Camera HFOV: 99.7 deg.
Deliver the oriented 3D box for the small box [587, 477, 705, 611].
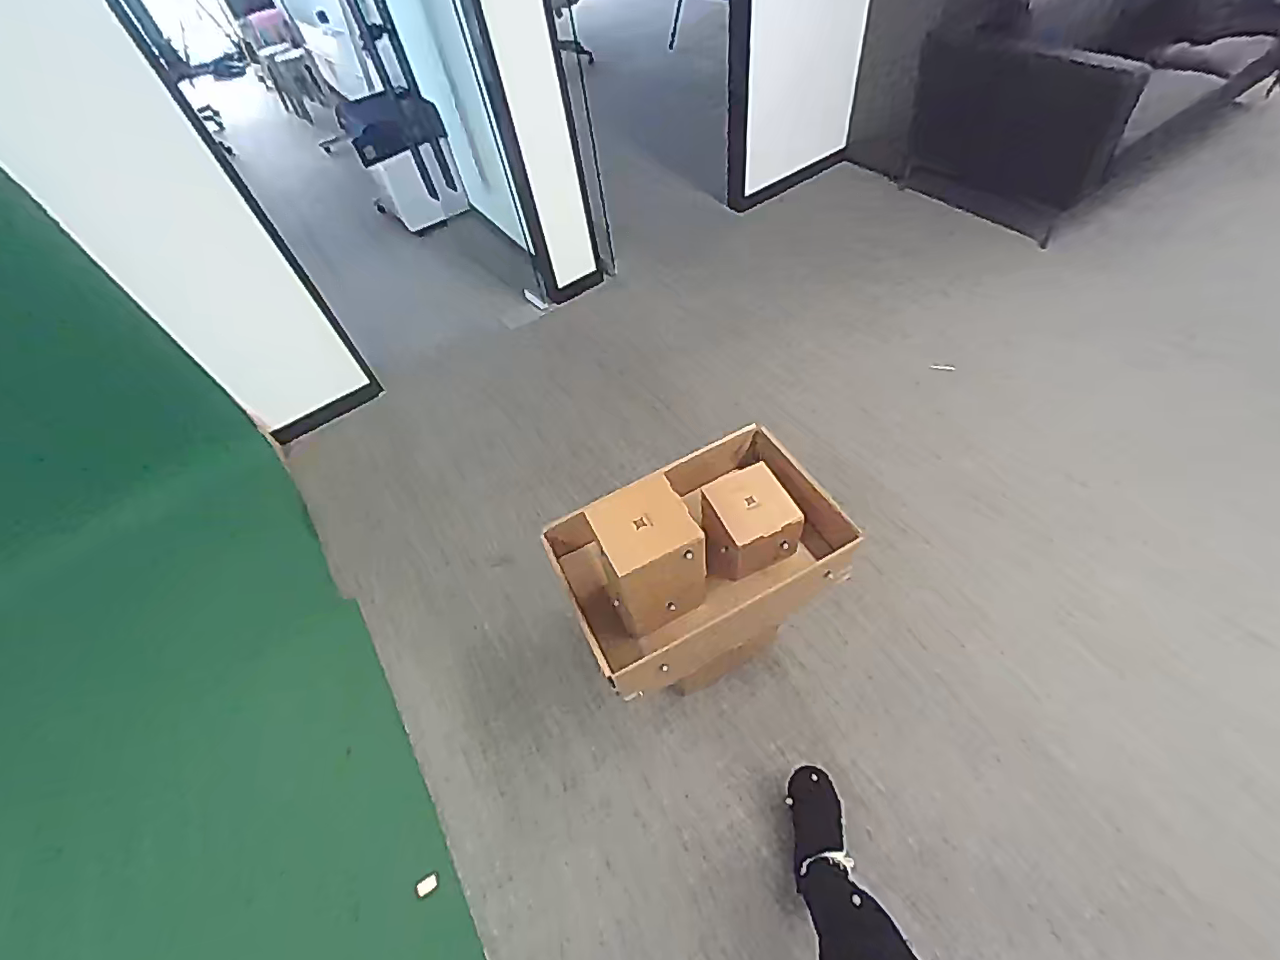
[{"bbox_3d":[0.018,0.132,1.074,0.179,0.176,0.168,-25,54,-10],"label":"small box"}]
